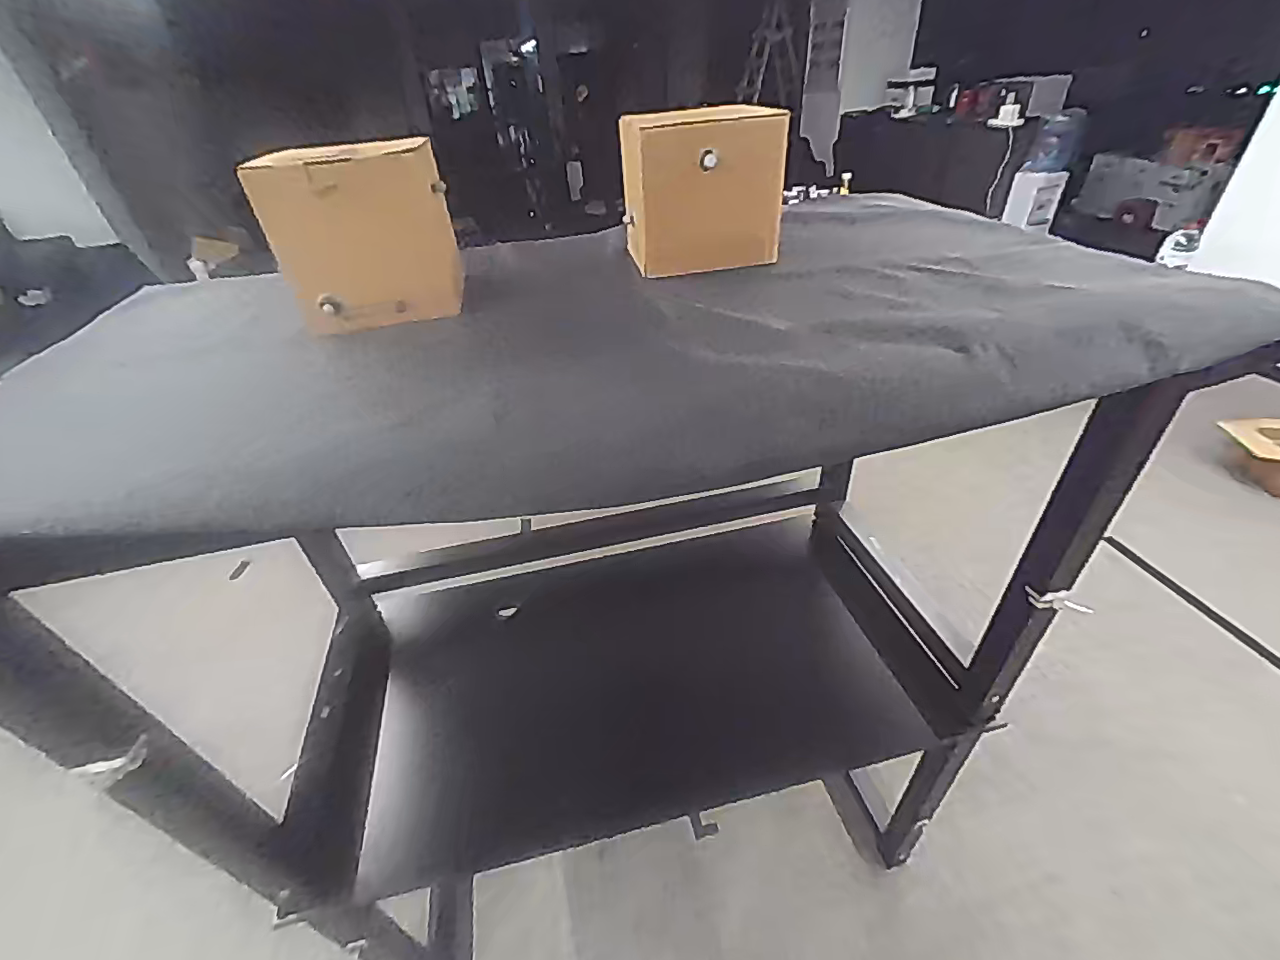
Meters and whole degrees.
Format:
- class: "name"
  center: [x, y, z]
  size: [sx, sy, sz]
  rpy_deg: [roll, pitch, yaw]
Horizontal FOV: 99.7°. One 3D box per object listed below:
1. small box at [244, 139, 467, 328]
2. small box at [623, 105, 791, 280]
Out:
- class: "small box"
  center: [-0.309, -0.288, 0.637]
  size: [0.168, 0.176, 0.179]
  rpy_deg: [-11, 36, -7]
- class: "small box"
  center: [0.079, -0.378, 0.709]
  size: [0.179, 0.176, 0.168]
  rpy_deg: [-9, 37, -4]
